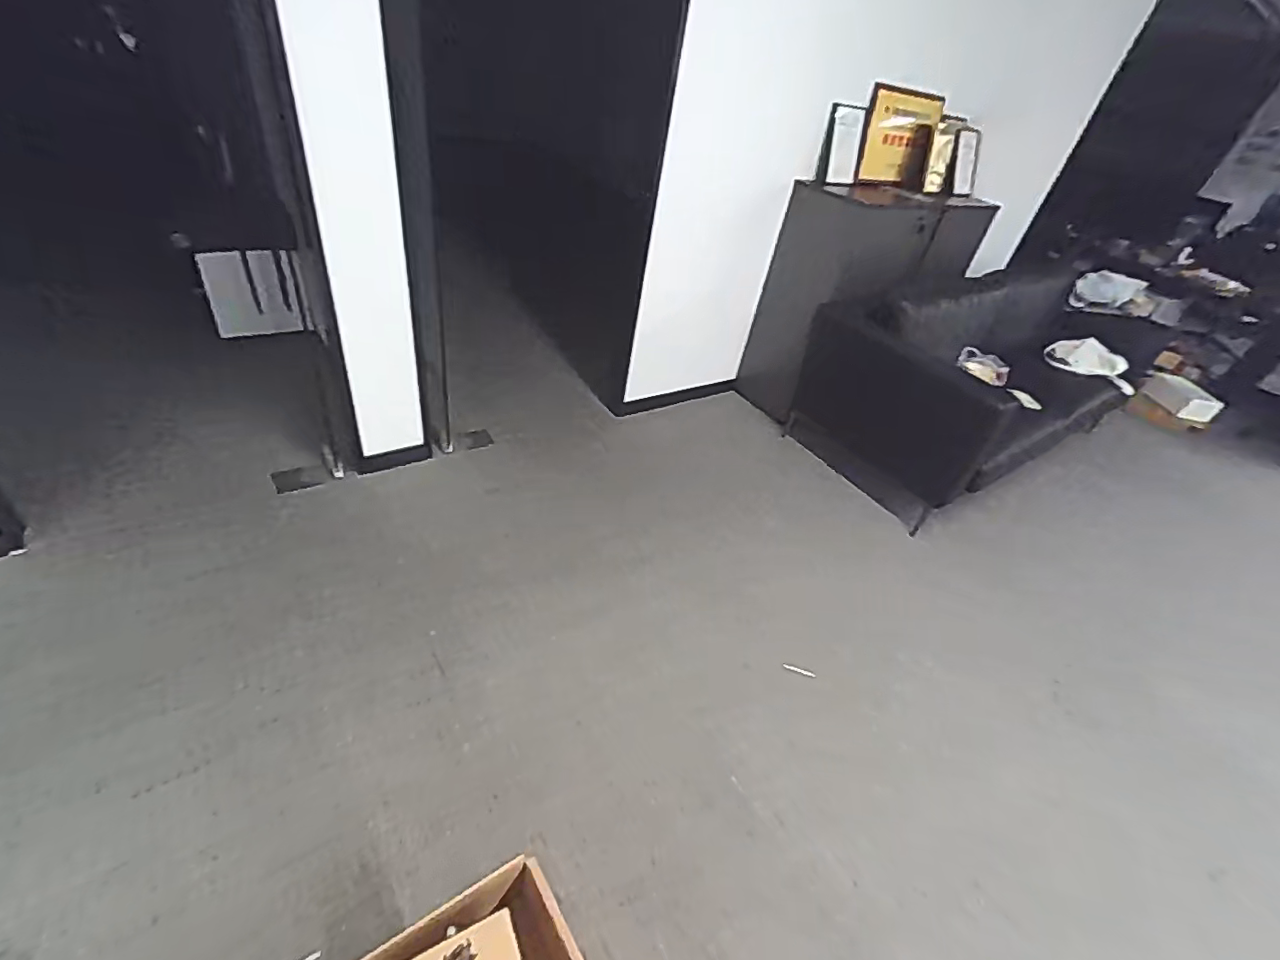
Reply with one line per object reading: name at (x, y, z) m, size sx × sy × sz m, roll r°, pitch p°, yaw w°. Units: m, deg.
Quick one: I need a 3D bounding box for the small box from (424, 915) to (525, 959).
small box at (-0.197, 0.643, 0.604) m, size 0.168 × 0.176 × 0.179 m, roll -12°, pitch 45°, yaw -27°
